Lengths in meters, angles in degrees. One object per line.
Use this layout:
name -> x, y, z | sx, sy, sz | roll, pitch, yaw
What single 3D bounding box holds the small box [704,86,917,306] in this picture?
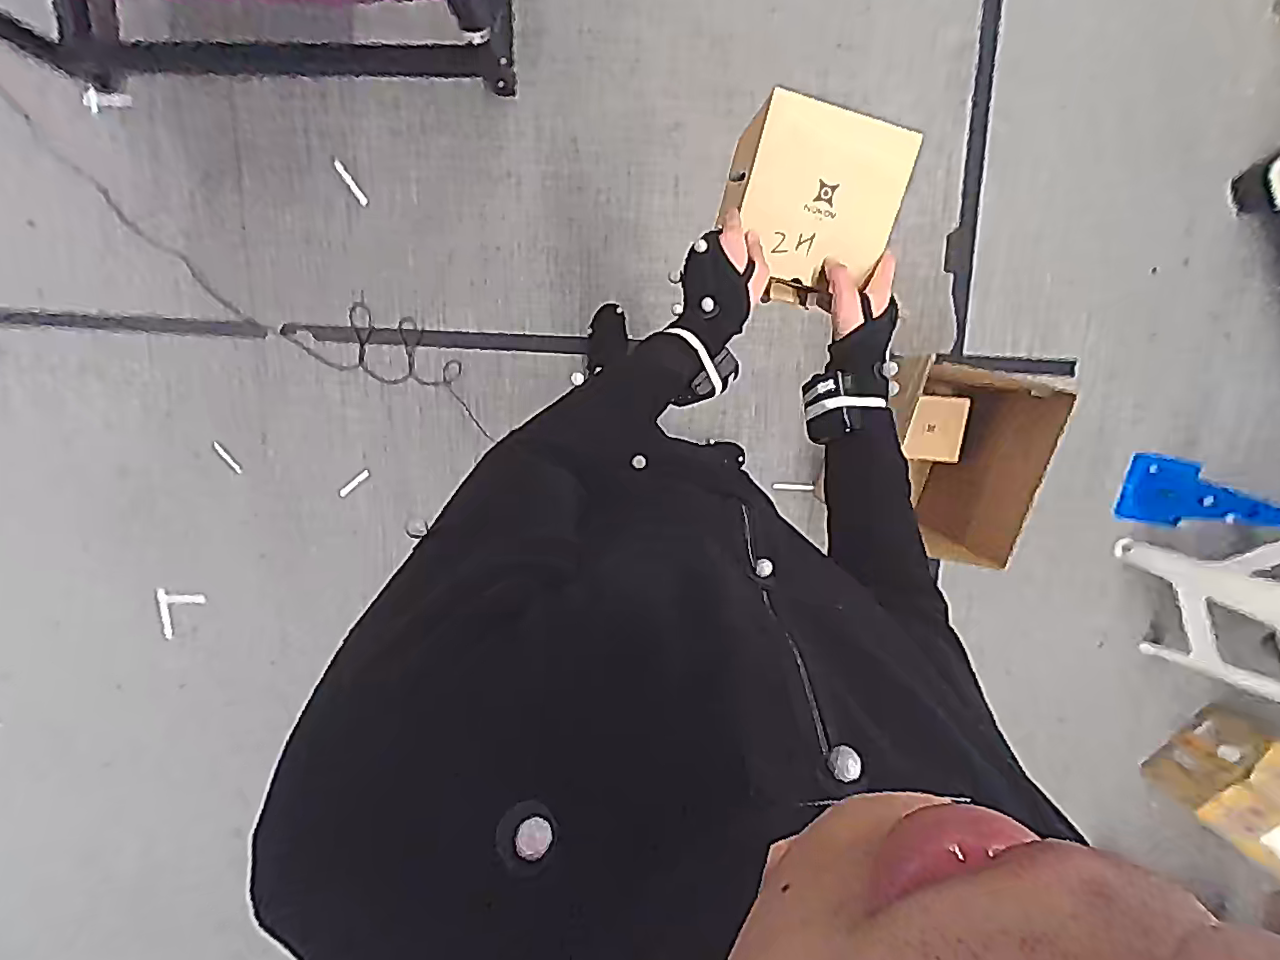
small box -> 0.182, -0.314, 0.640 | 0.168, 0.176, 0.179 | 12, 106, -6
